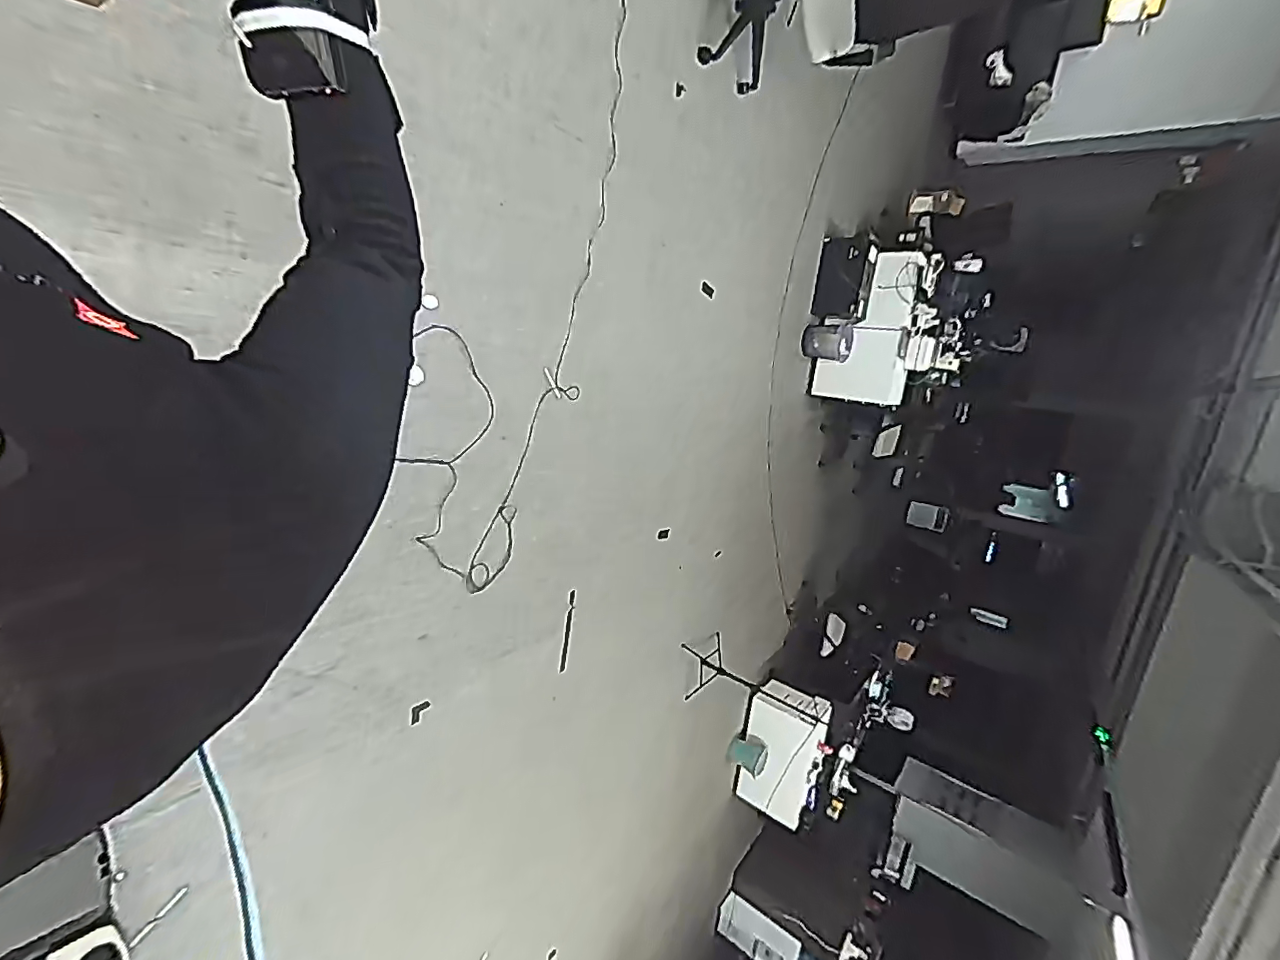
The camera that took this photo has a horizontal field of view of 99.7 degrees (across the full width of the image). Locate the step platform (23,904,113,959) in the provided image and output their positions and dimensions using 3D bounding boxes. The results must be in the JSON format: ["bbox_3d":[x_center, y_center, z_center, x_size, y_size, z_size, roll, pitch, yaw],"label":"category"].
[{"bbox_3d":[-1.427,1.165,0.985,0.684,0.204,0.286,-12,113,-50],"label":"step platform"}]
